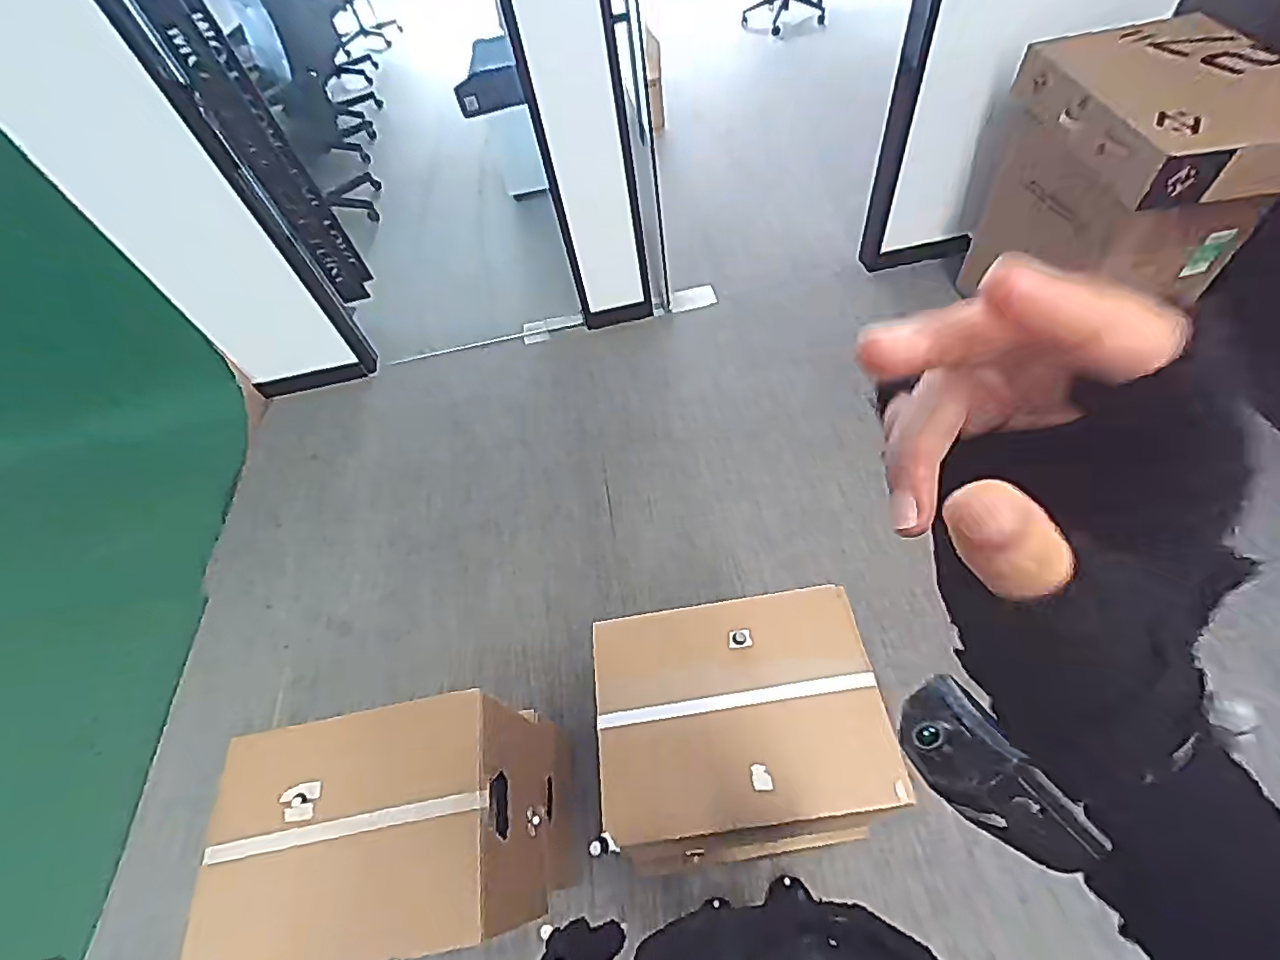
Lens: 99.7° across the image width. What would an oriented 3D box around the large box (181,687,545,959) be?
[{"bbox_3d":[-0.399,0.565,0.882,0.408,0.320,0.320,-12,56,2],"label":"large box"}]
